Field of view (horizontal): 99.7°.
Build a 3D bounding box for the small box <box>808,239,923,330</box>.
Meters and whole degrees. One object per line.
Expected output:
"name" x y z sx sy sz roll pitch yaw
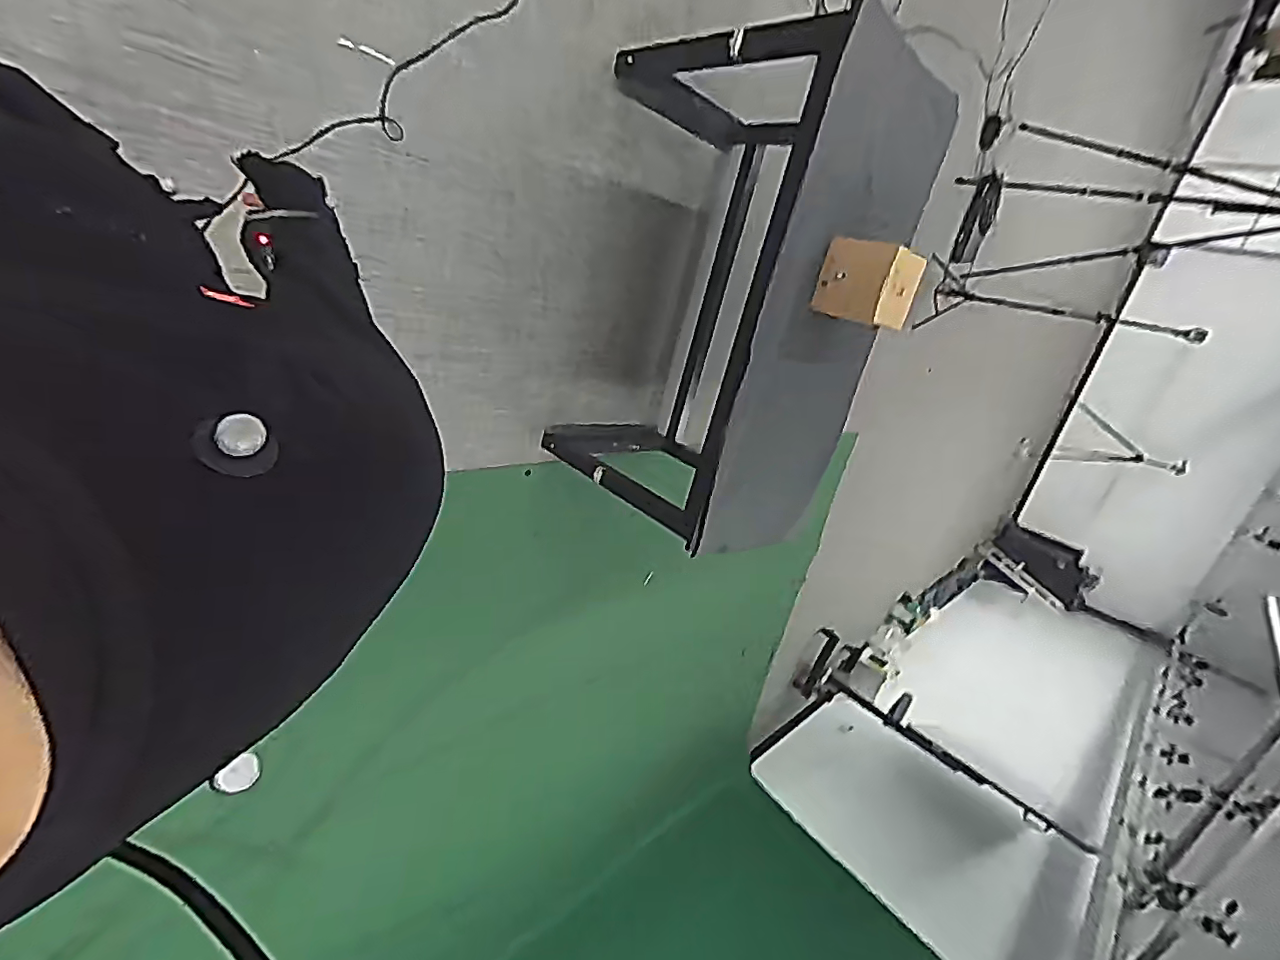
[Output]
"small box" 0.538 -0.469 1.297 0.179 0.176 0.168 -6 117 -44
